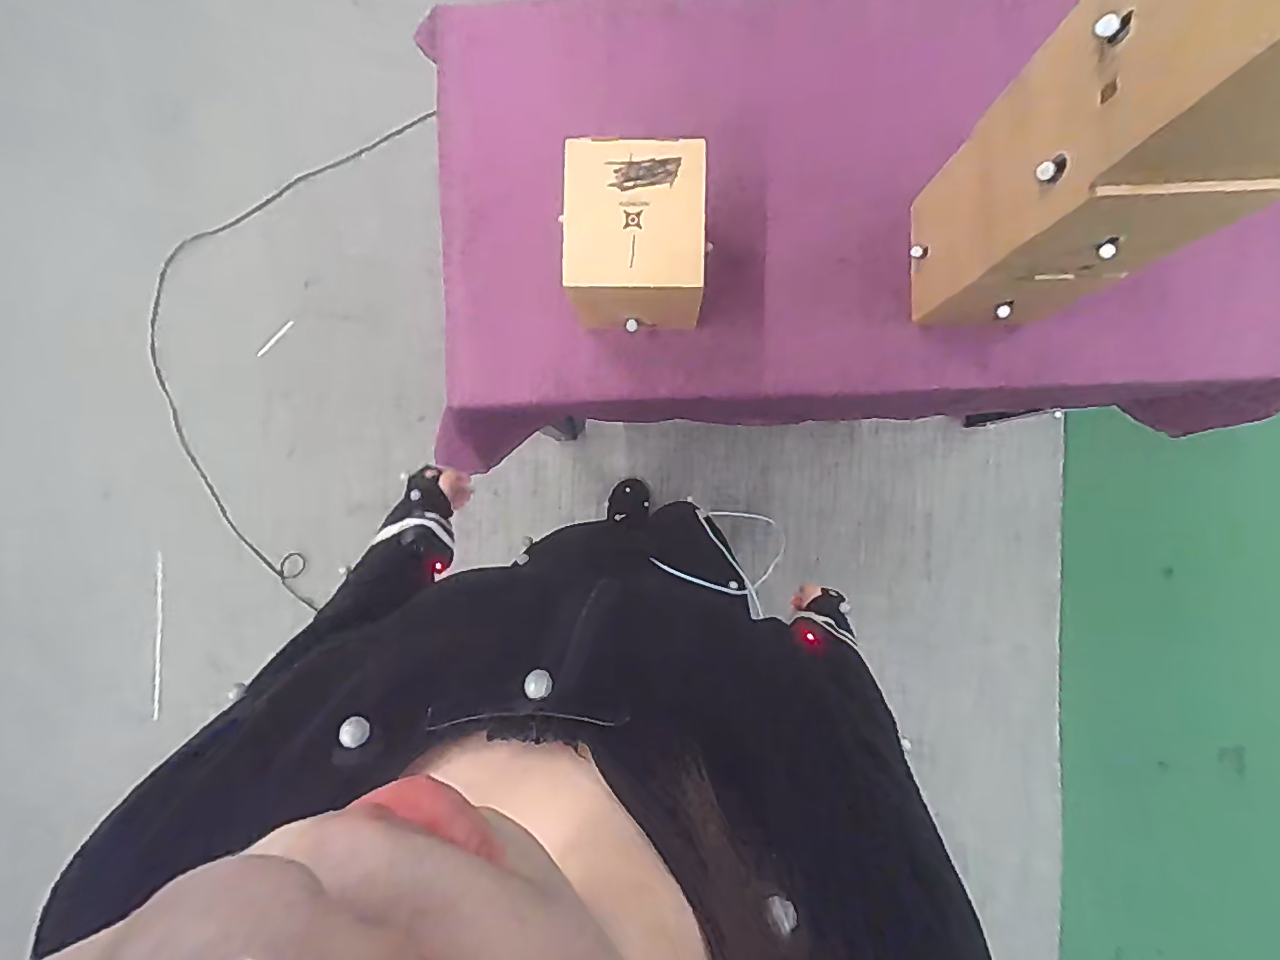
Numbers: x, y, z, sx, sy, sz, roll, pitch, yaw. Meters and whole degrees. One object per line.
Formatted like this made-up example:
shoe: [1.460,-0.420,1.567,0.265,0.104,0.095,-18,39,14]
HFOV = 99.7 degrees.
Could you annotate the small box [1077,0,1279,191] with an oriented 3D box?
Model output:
small box: [0.446,-0.319,0.363,0.179,0.176,0.168,0,88,3]

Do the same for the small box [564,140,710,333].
small box: [-0.002,-0.305,0.705,0.168,0.176,0.179,1,90,2]

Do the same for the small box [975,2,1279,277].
small box: [0.455,-0.310,0.526,0.168,0.176,0.179,0,89,1]

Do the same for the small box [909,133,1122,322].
small box: [0.464,-0.307,0.691,0.168,0.176,0.179,0,90,2]
